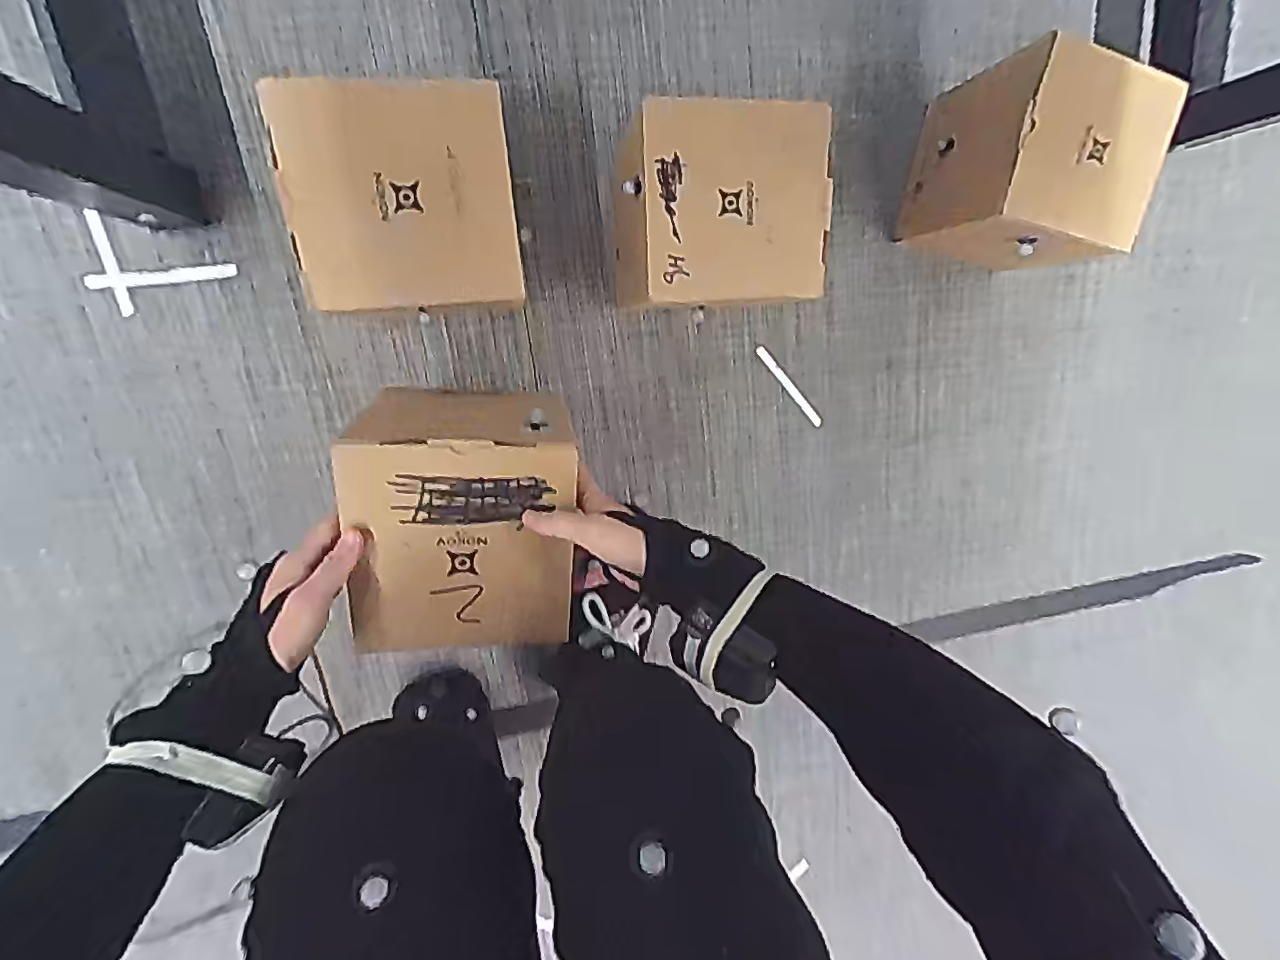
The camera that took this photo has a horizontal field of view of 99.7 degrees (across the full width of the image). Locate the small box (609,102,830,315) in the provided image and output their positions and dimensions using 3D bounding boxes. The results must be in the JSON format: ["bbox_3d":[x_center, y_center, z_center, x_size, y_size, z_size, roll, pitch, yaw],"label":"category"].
[{"bbox_3d":[0.071,-0.262,0.561,0.179,0.176,0.168,-5,105,-11],"label":"small box"}]

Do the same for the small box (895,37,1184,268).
[{"bbox_3d":[0.437,-0.349,0.619,0.179,0.176,0.168,7,103,-13],"label":"small box"}]
